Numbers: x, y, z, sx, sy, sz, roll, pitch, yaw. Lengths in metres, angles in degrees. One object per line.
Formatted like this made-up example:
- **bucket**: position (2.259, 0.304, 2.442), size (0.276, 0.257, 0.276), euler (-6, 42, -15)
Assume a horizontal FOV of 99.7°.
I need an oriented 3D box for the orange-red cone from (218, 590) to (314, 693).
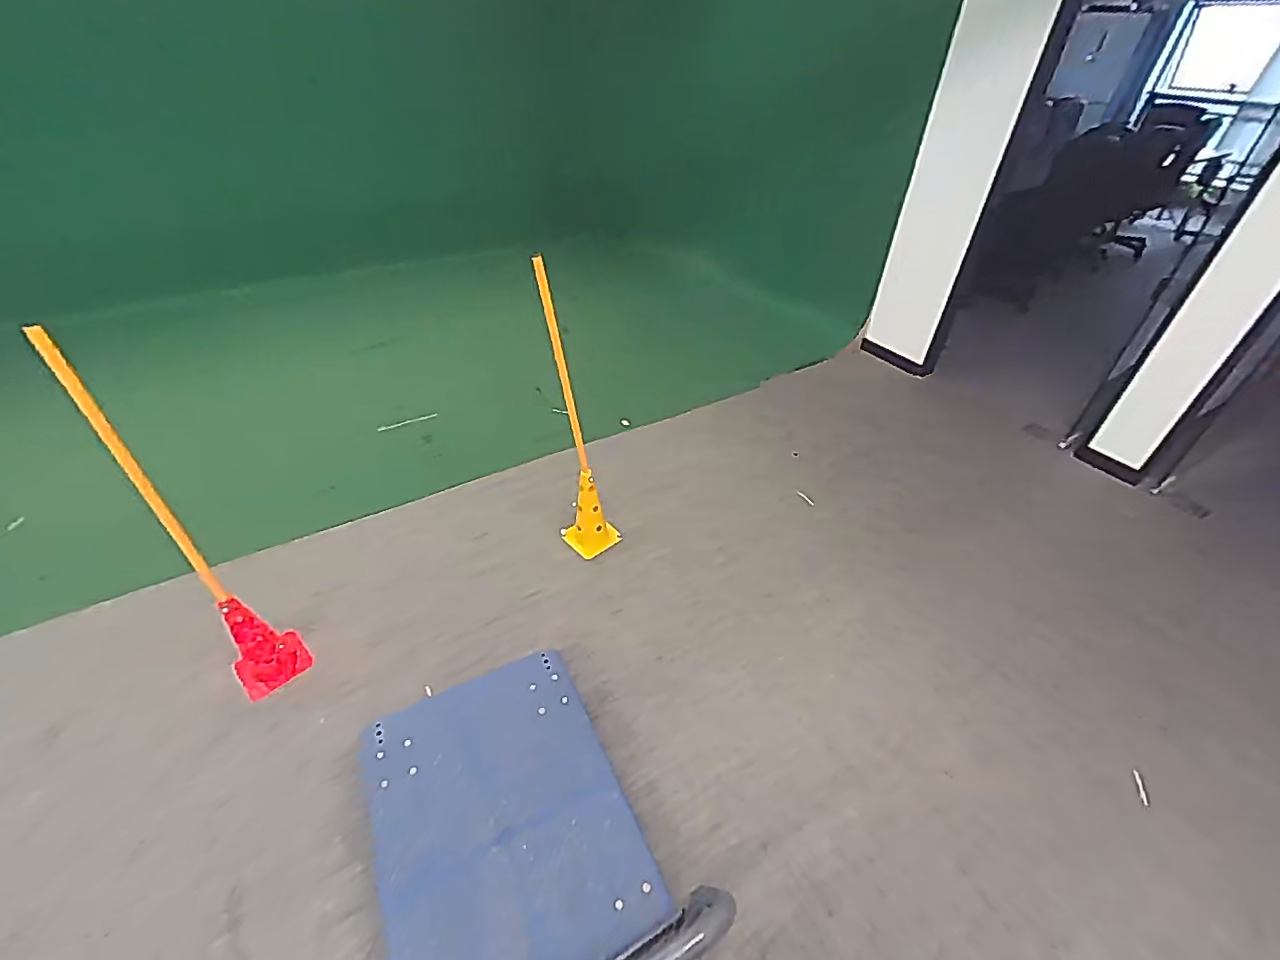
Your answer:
- **orange-red cone**: position (-1.225, 0.472, 1.708), size (0.198, 0.360, 0.199), euler (33, 51, 33)
